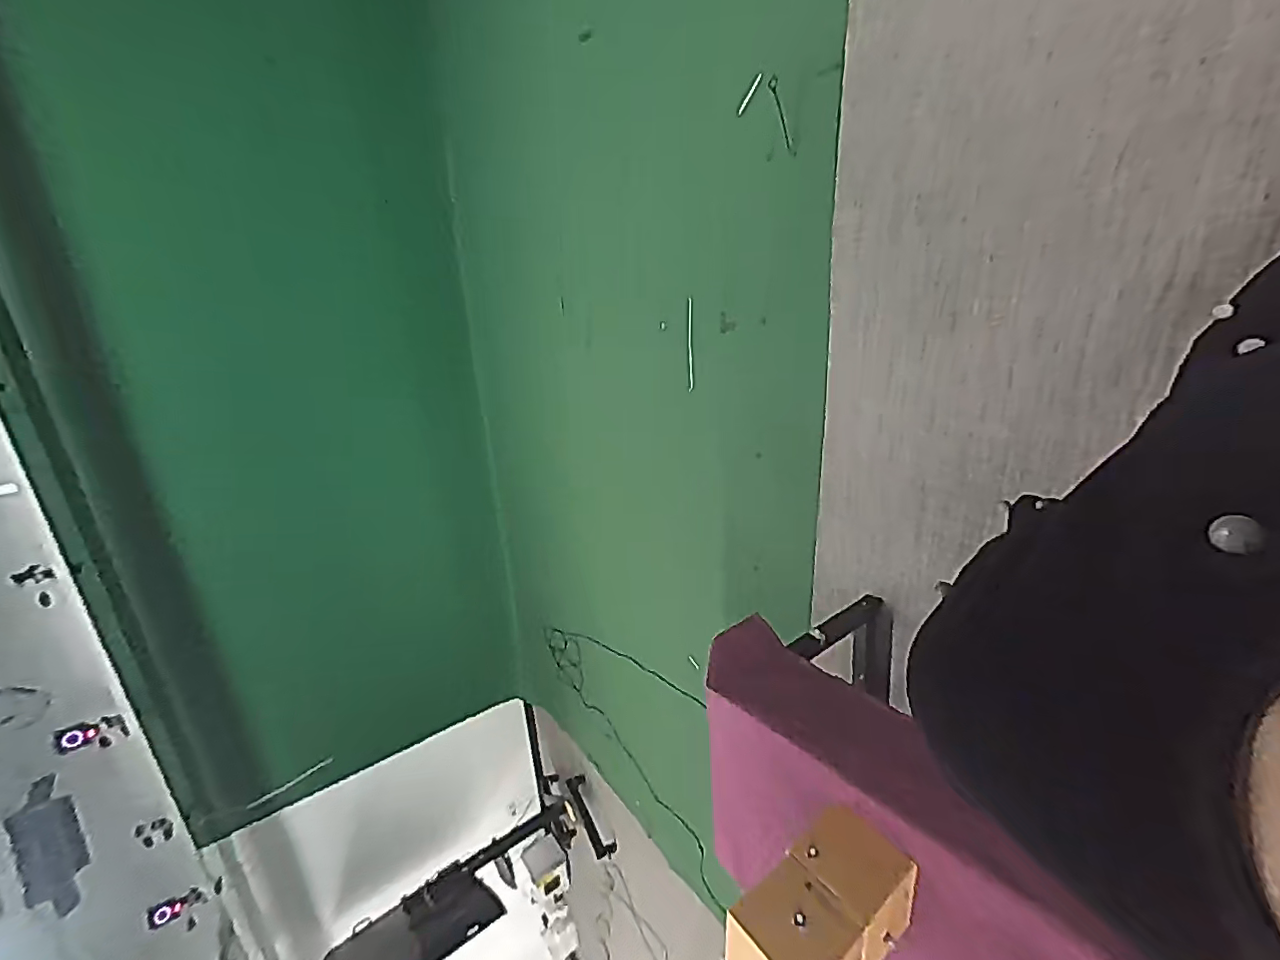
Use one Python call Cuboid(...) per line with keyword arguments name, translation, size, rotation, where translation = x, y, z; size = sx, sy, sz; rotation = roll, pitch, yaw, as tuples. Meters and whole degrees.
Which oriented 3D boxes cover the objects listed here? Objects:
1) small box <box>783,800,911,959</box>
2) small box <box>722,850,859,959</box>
Cuboid(name="small box", translation=(0.399, 0.774, 1.051), size=(0.179, 0.176, 0.168), rotation=(22, 122, 51))
Cuboid(name="small box", translation=(0.267, 0.819, 0.964), size=(0.168, 0.176, 0.179), rotation=(25, 124, 50))
